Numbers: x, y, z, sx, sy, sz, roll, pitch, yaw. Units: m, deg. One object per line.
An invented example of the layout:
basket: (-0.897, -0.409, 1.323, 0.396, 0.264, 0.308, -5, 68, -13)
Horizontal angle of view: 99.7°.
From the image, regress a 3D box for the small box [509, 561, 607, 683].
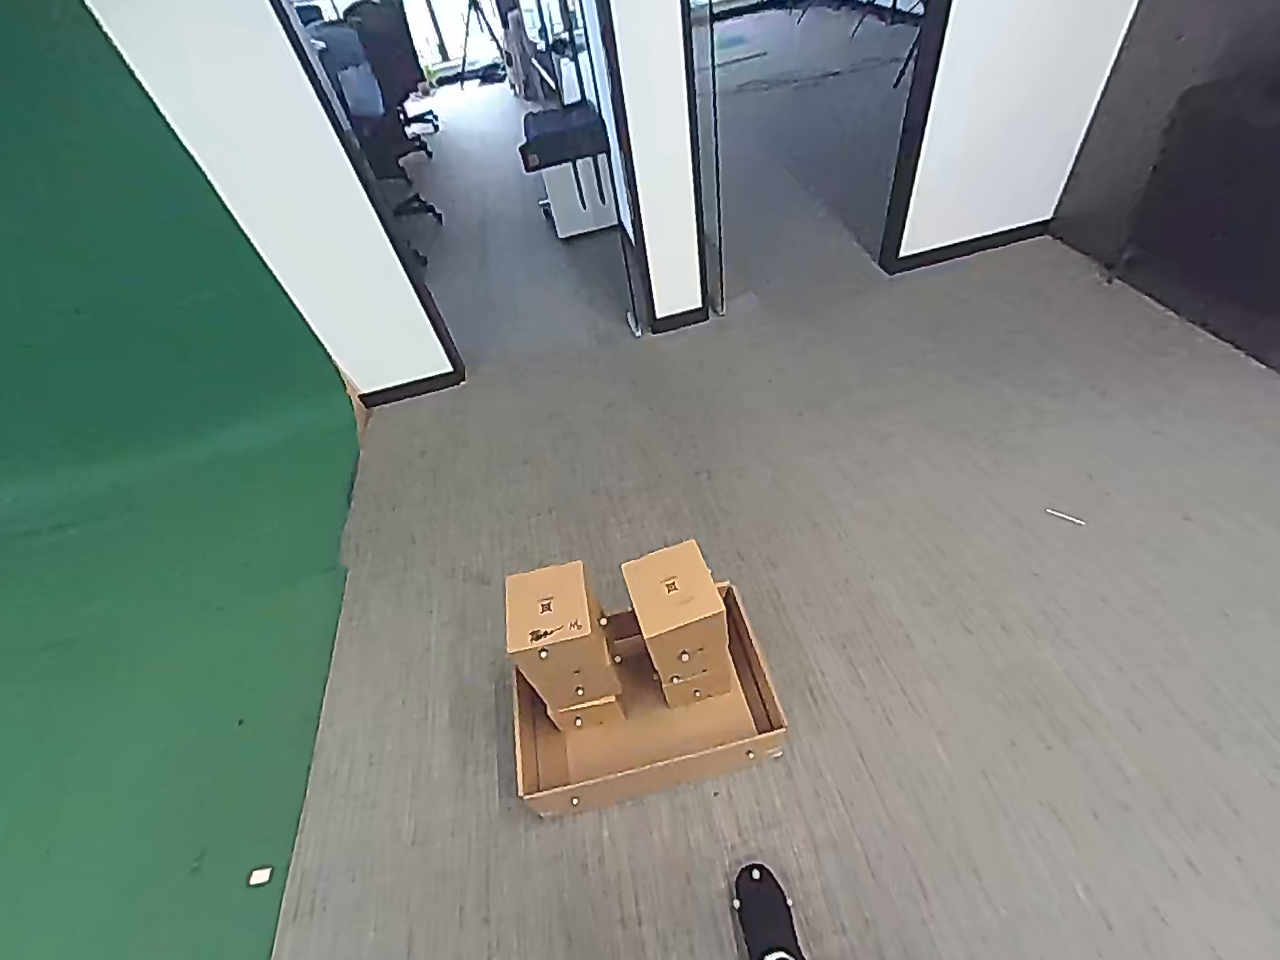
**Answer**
small box: (-0.170, 0.300, 1.140, 0.168, 0.176, 0.179, -13, 47, 0)

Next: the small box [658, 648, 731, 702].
small box: (0.130, 0.451, 1.388, 0.168, 0.176, 0.179, -15, 49, -1)

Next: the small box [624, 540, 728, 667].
small box: (0.076, 0.260, 1.127, 0.168, 0.176, 0.179, -18, 50, -3)

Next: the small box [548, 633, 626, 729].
small box: (-0.135, 0.519, 1.383, 0.168, 0.176, 0.179, -11, 48, 0)
